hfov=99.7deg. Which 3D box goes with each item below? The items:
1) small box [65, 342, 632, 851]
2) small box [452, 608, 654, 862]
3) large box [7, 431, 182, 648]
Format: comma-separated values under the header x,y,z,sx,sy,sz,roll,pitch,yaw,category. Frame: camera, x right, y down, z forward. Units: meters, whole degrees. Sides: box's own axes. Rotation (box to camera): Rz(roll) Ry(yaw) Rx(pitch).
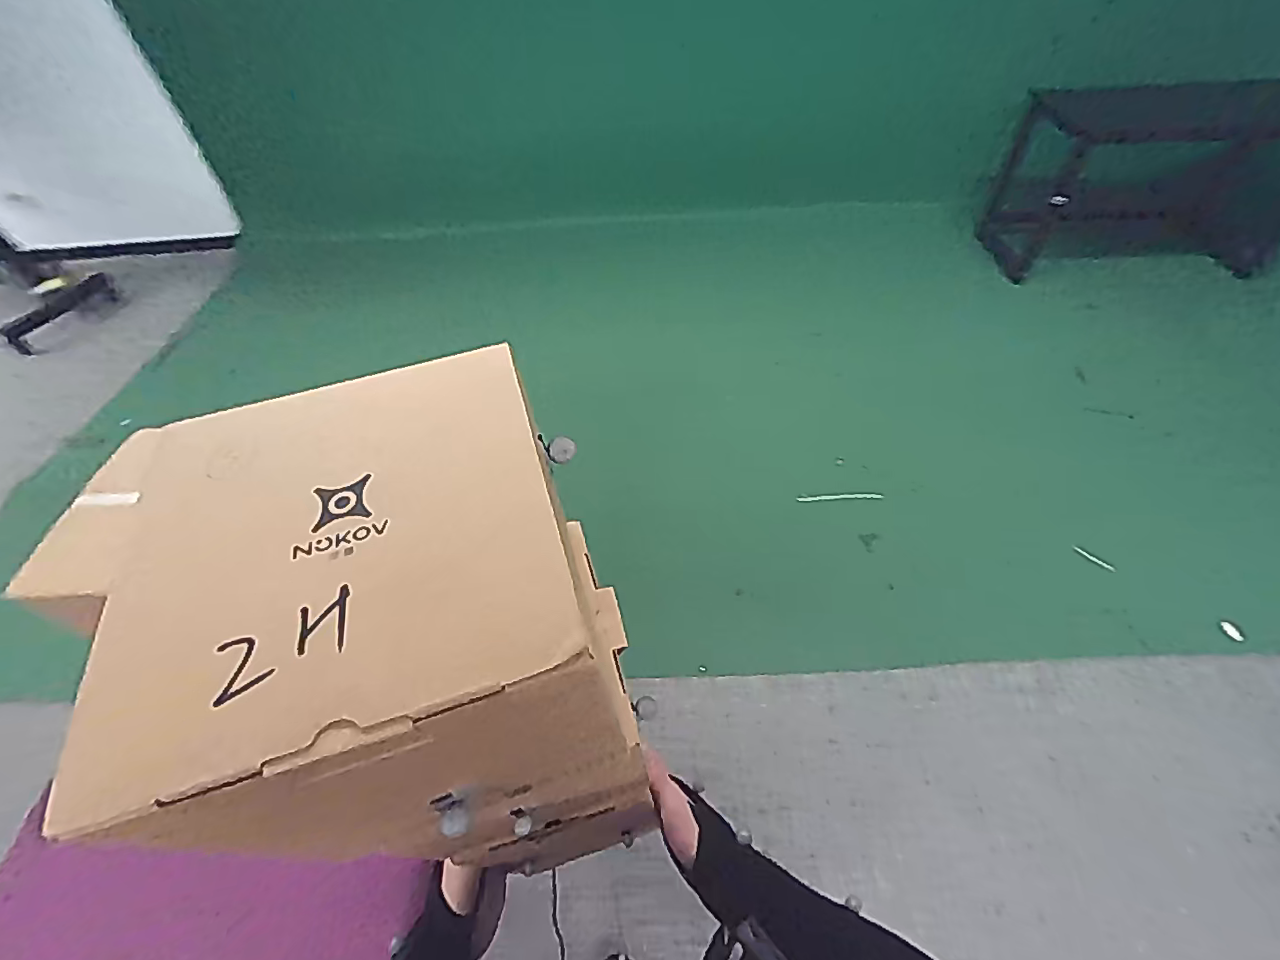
x,y,z,sx,sy,sz,roll,pitch,yaw,category
-0.107,0.062,0.278,0.168,0.176,0.179,-15,54,-7,small box
-0.084,0.258,0.542,0.168,0.176,0.179,-13,53,-8,small box
-0.622,0.124,0.905,0.408,0.320,0.320,-2,51,1,large box
